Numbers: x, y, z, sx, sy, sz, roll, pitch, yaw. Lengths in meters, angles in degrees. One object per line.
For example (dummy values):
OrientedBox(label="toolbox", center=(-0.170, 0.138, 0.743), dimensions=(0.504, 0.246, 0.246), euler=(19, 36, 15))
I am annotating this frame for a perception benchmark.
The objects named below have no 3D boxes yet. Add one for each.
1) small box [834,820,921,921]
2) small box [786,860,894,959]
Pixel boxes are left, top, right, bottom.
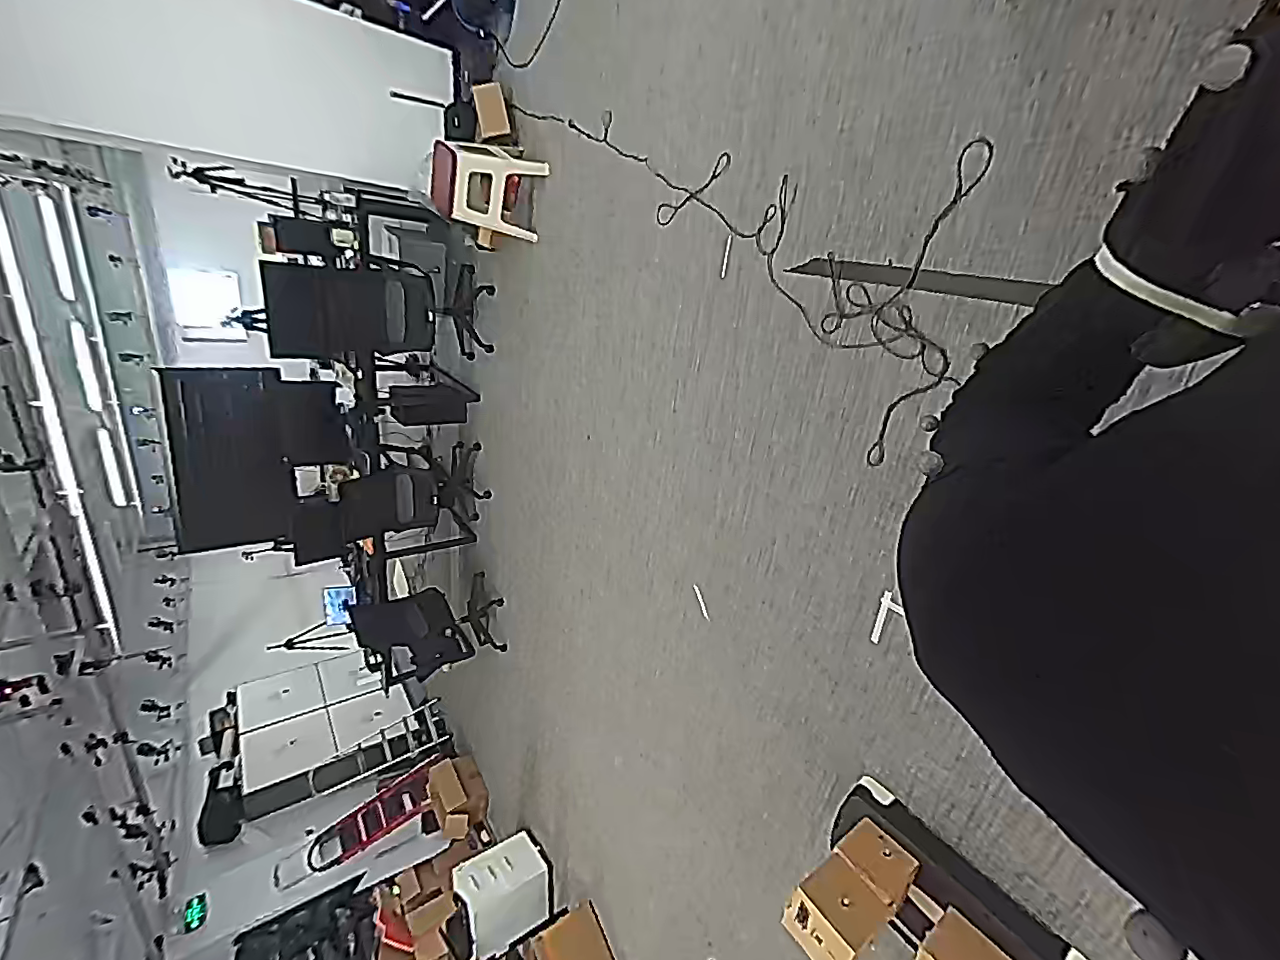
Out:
OrientedBox(label="small box", center=(0.652, 1.108, 1.510), dimensions=(0.168, 0.176, 0.179), euler=(29, 120, 47))
OrientedBox(label="small box", center=(0.522, 1.145, 1.415), dimensions=(0.179, 0.176, 0.168), euler=(35, 124, 43))
